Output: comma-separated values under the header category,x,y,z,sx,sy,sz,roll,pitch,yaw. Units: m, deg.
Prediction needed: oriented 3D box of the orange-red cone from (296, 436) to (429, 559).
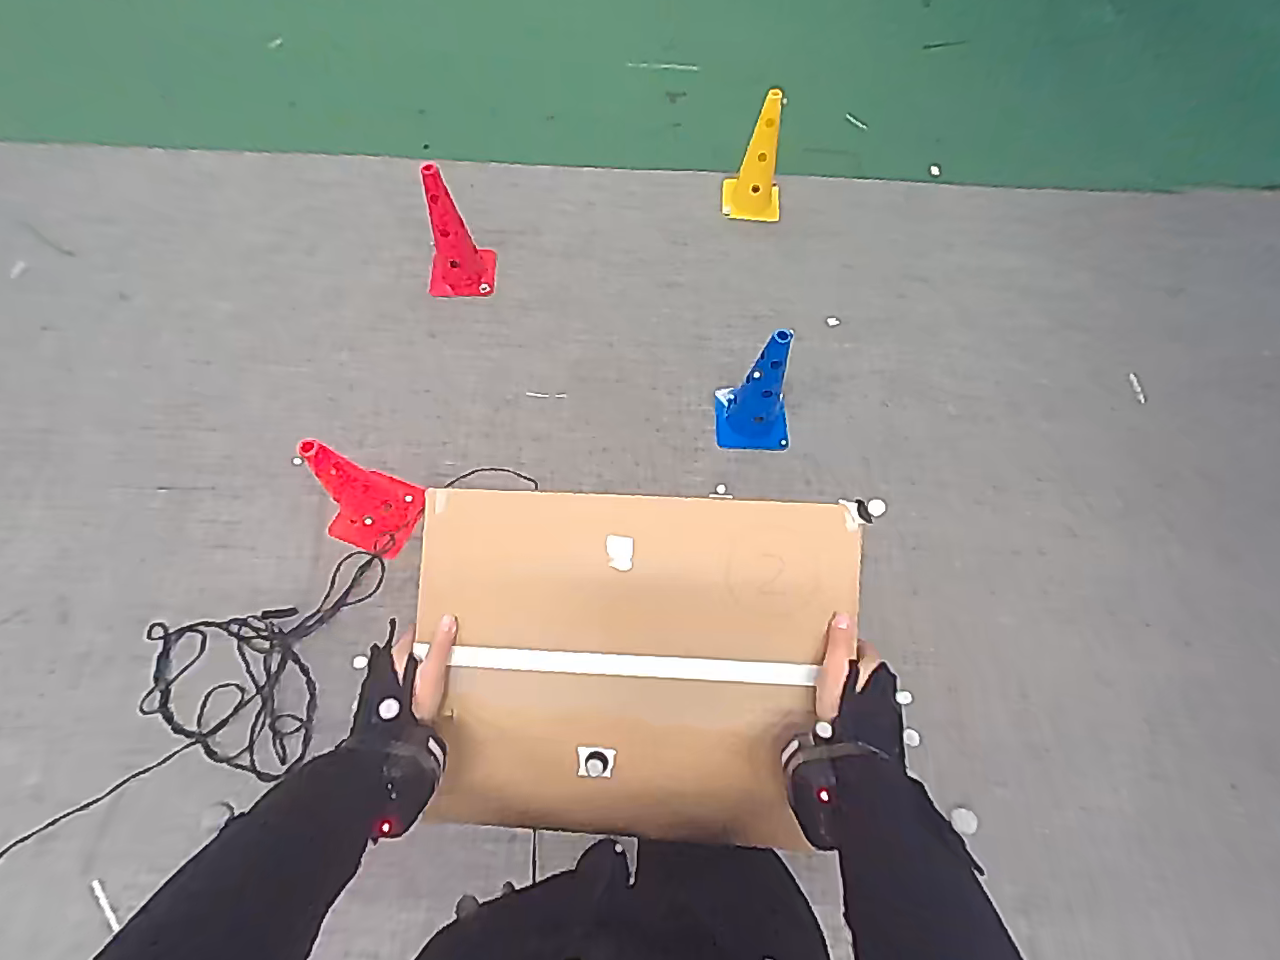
category,x,y,z,sx,sy,sz,roll,pitch,yaw
orange-red cone,-0.663,0.010,1.222,0.199,0.360,0.198,20,64,10

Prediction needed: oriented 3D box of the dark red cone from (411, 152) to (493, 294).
category,x,y,z,sx,sy,sz,roll,pitch,yaw
dark red cone,-0.569,-0.745,1.570,0.202,0.394,0.201,-4,61,-3

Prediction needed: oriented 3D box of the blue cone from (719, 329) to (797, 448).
category,x,y,z,sx,sy,sz,roll,pitch,yaw
blue cone,0.321,-0.245,1.378,0.192,0.380,0.193,3,64,0
